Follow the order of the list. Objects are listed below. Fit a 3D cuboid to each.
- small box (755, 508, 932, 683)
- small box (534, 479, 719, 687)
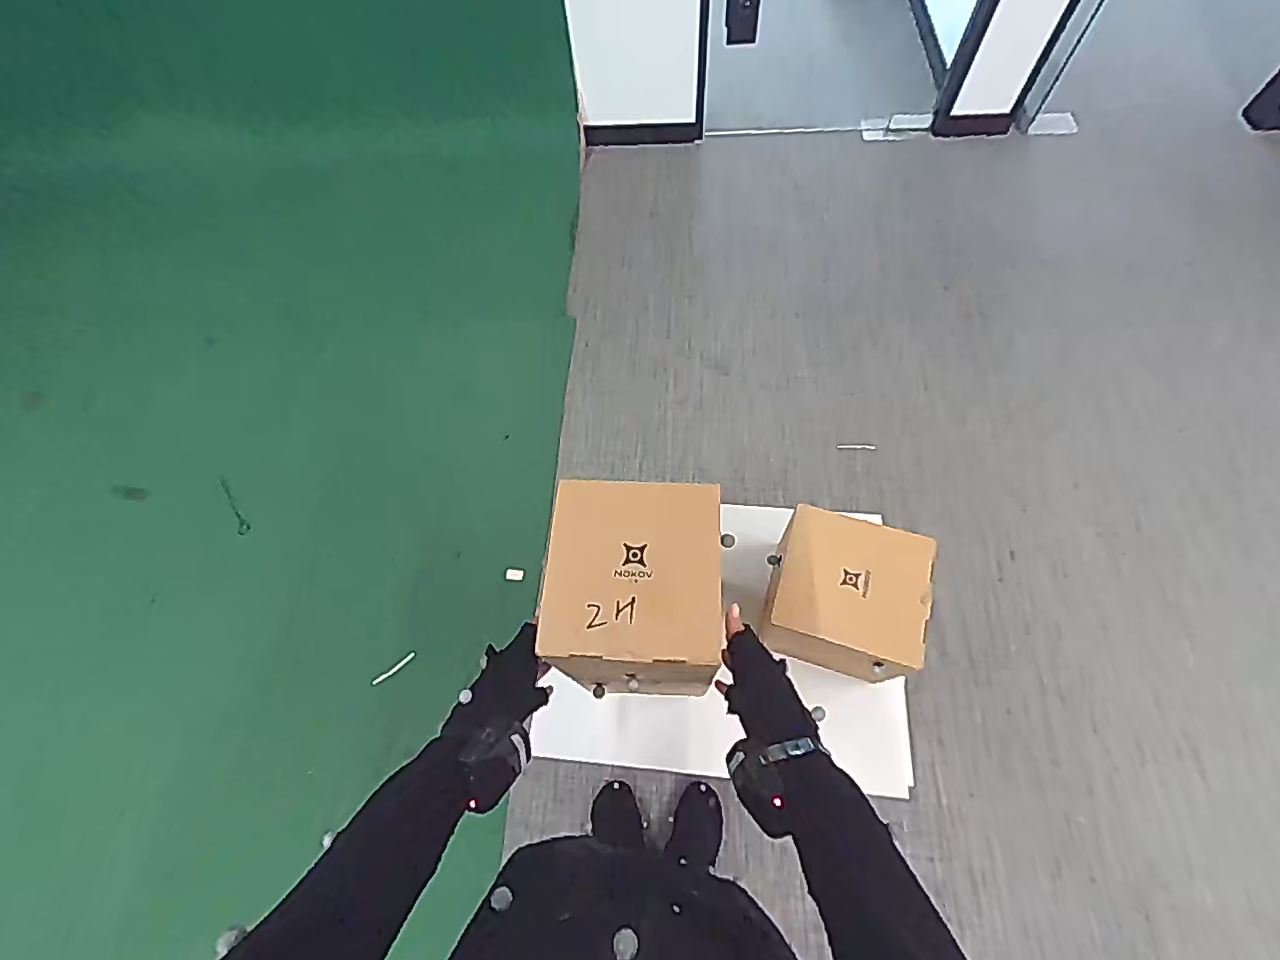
[{"bbox_3d":[0.262,0.162,0.728,0.179,0.176,0.168,15,66,11],"label":"small box"},{"bbox_3d":[-0.005,0.116,0.582,0.168,0.176,0.179,2,63,4],"label":"small box"}]
